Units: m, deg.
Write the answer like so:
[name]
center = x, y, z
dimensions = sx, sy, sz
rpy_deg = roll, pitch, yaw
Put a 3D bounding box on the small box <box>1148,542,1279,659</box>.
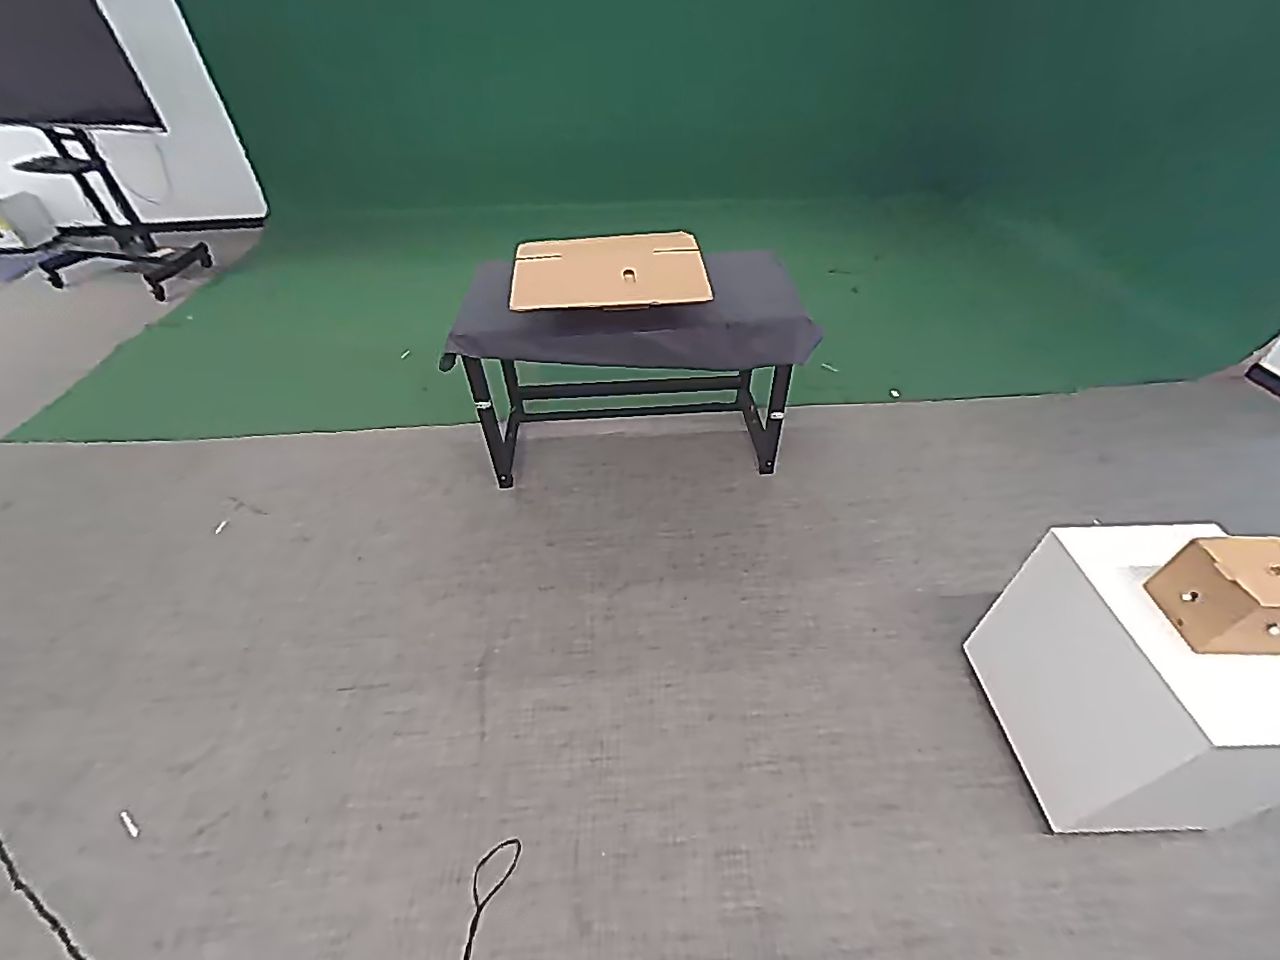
[small box]
center = 1.172, 0.240, 1.068
dimensions = 0.179, 0.176, 0.168
rpy_deg = -1, 42, -1
